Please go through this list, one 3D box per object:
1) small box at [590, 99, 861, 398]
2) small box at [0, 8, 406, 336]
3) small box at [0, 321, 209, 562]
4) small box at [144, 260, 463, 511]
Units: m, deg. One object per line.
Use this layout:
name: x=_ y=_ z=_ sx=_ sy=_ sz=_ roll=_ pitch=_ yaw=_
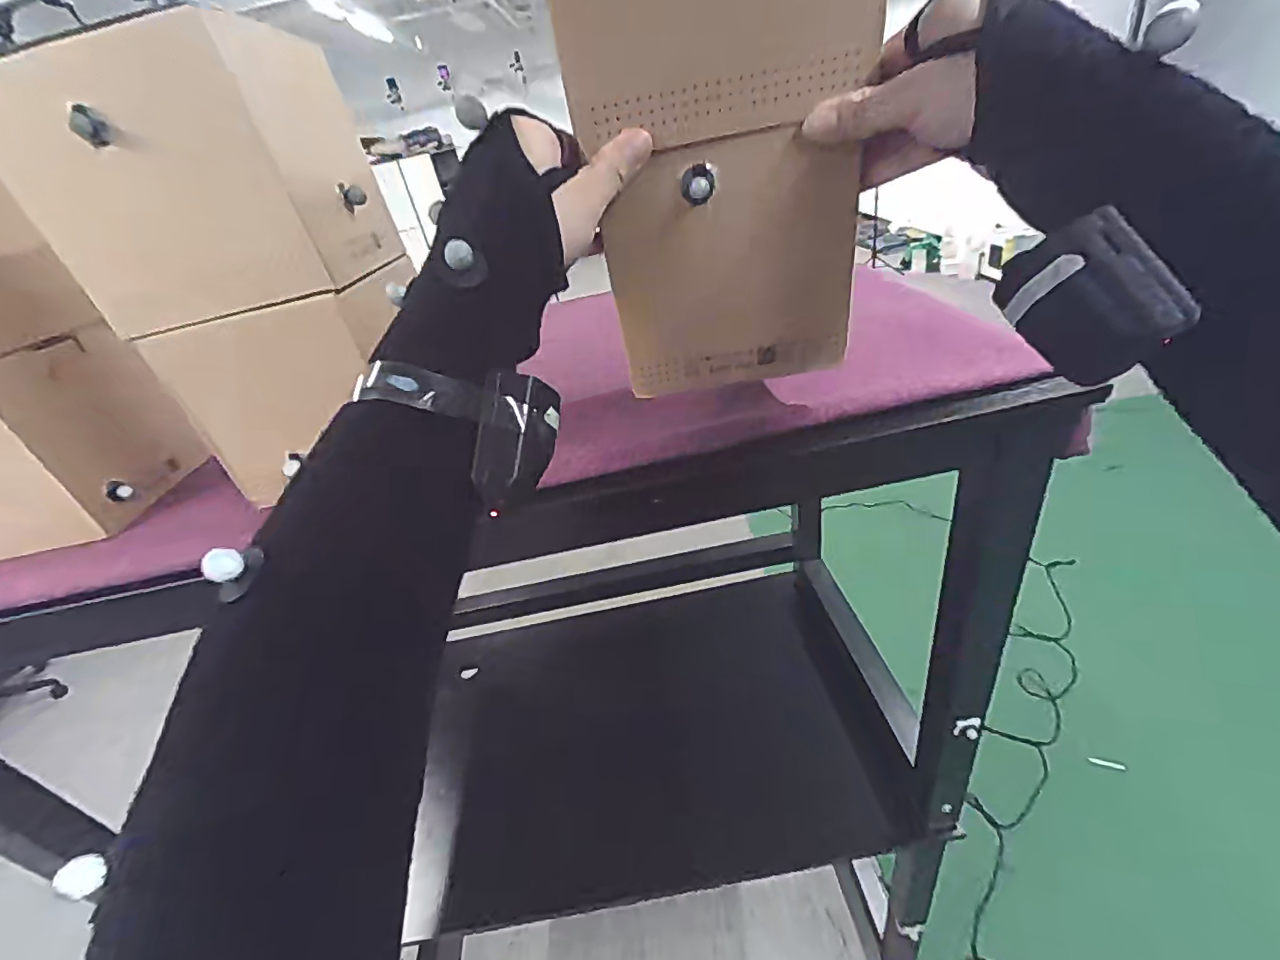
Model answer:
small box: x=0.063 y=-0.187 z=0.437 sx=0.168 sy=0.176 sz=0.179 roll=-9 pitch=38 yaw=6
small box: x=-0.324 y=-0.227 z=0.429 sx=0.179 sy=0.176 sz=0.168 roll=-12 pitch=32 yaw=4
small box: x=-0.591 y=-0.036 z=0.532 sx=0.179 sy=0.176 sz=0.168 roll=-12 pitch=31 yaw=3
small box: x=-0.289 y=-0.094 z=0.519 sx=0.168 sy=0.176 sz=0.179 roll=-11 pitch=32 yaw=5
